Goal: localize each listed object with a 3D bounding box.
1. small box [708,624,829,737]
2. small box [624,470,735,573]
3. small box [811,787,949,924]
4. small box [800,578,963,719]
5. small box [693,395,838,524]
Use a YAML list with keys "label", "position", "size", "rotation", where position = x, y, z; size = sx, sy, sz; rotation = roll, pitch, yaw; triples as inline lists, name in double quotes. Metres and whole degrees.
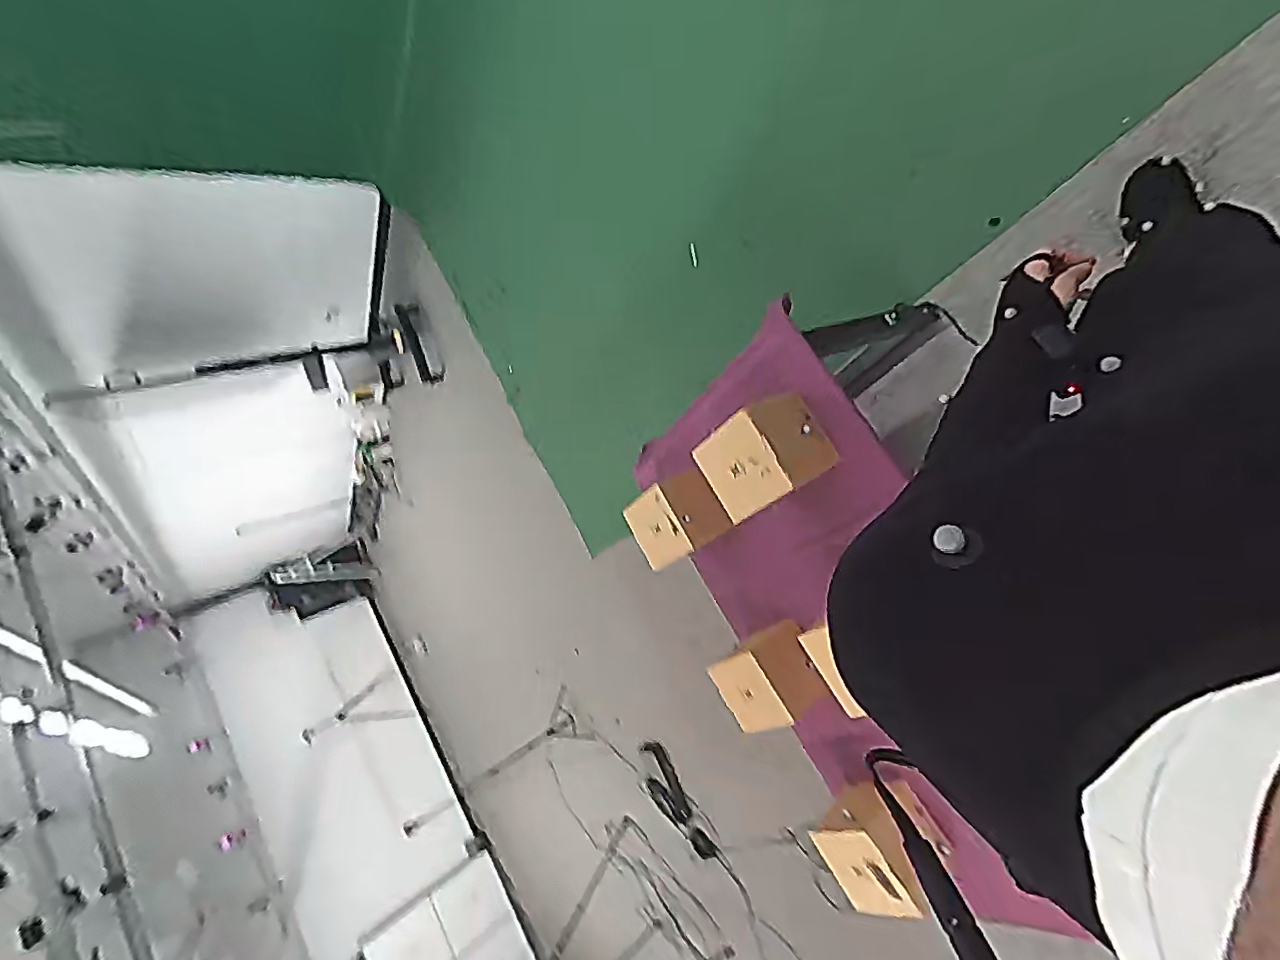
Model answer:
- label: "small box"
  position: [0.293, 0.451, 1.222]
  size: [0.168, 0.176, 0.179]
  rotation: [58, 140, 13]
- label: "small box"
  position: [0.097, 0.097, 1.294]
  size: [0.168, 0.176, 0.179]
  rotation: [60, 142, 10]
- label: "small box"
  position: [0.500, 0.762, 1.113]
  size: [0.168, 0.176, 0.179]
  rotation: [57, 141, 16]
- label: "small box"
  position: [0.436, 0.303, 0.980]
  size: [0.168, 0.176, 0.179]
  rotation: [58, 141, 14]
- label: "small box"
  position: [0.242, -0.041, 1.048]
  size: [0.168, 0.176, 0.179]
  rotation: [60, 141, 10]
